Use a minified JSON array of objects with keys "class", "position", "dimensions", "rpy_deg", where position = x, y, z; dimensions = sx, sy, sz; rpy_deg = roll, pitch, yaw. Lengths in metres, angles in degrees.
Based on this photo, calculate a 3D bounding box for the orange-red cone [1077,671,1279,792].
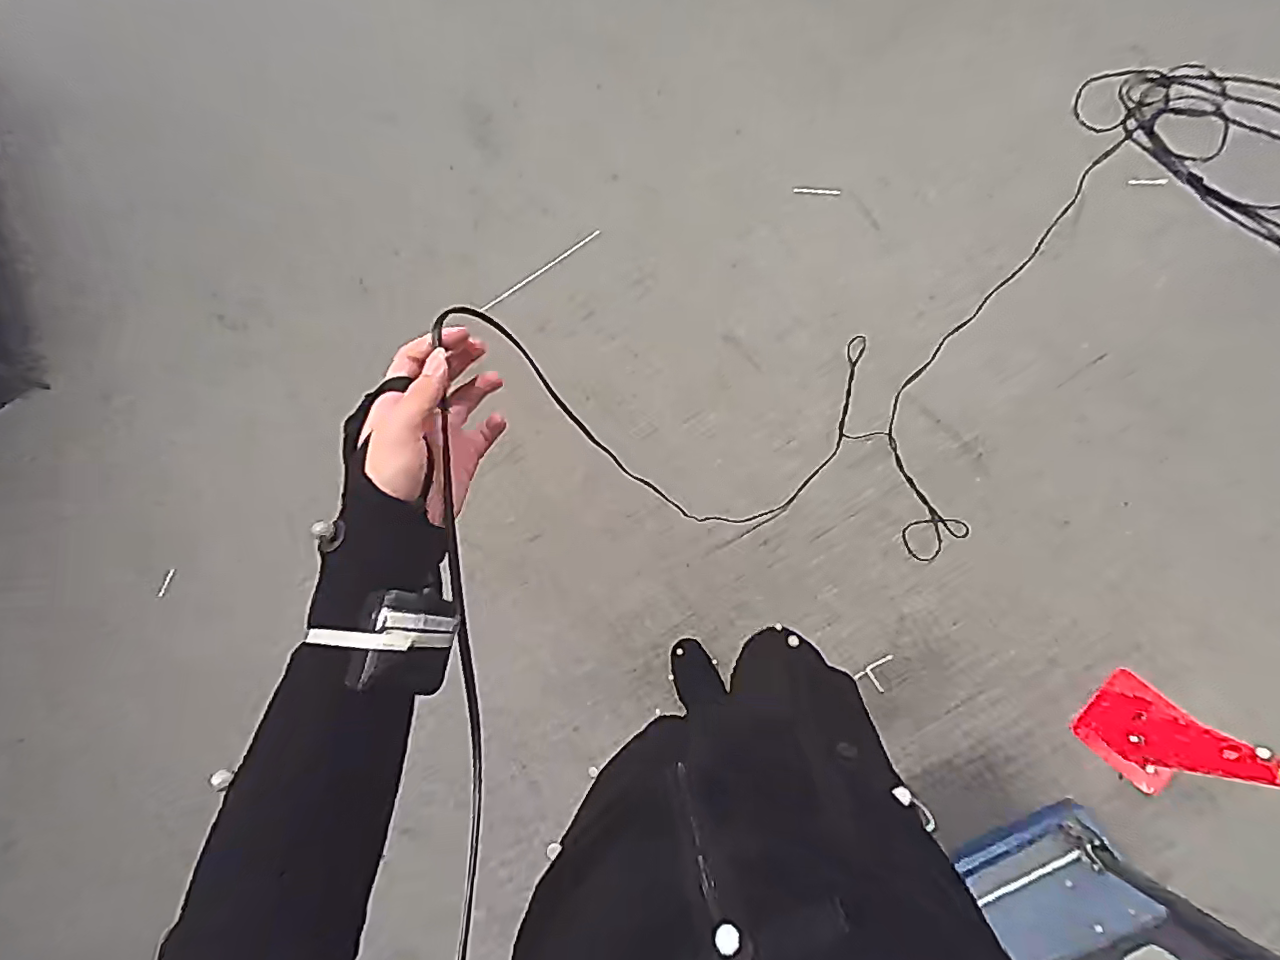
[{"class":"orange-red cone","position":[1.093,0.520,1.047],"dimensions":[0.198,0.360,0.199],"rpy_deg":[43,85,15]}]
